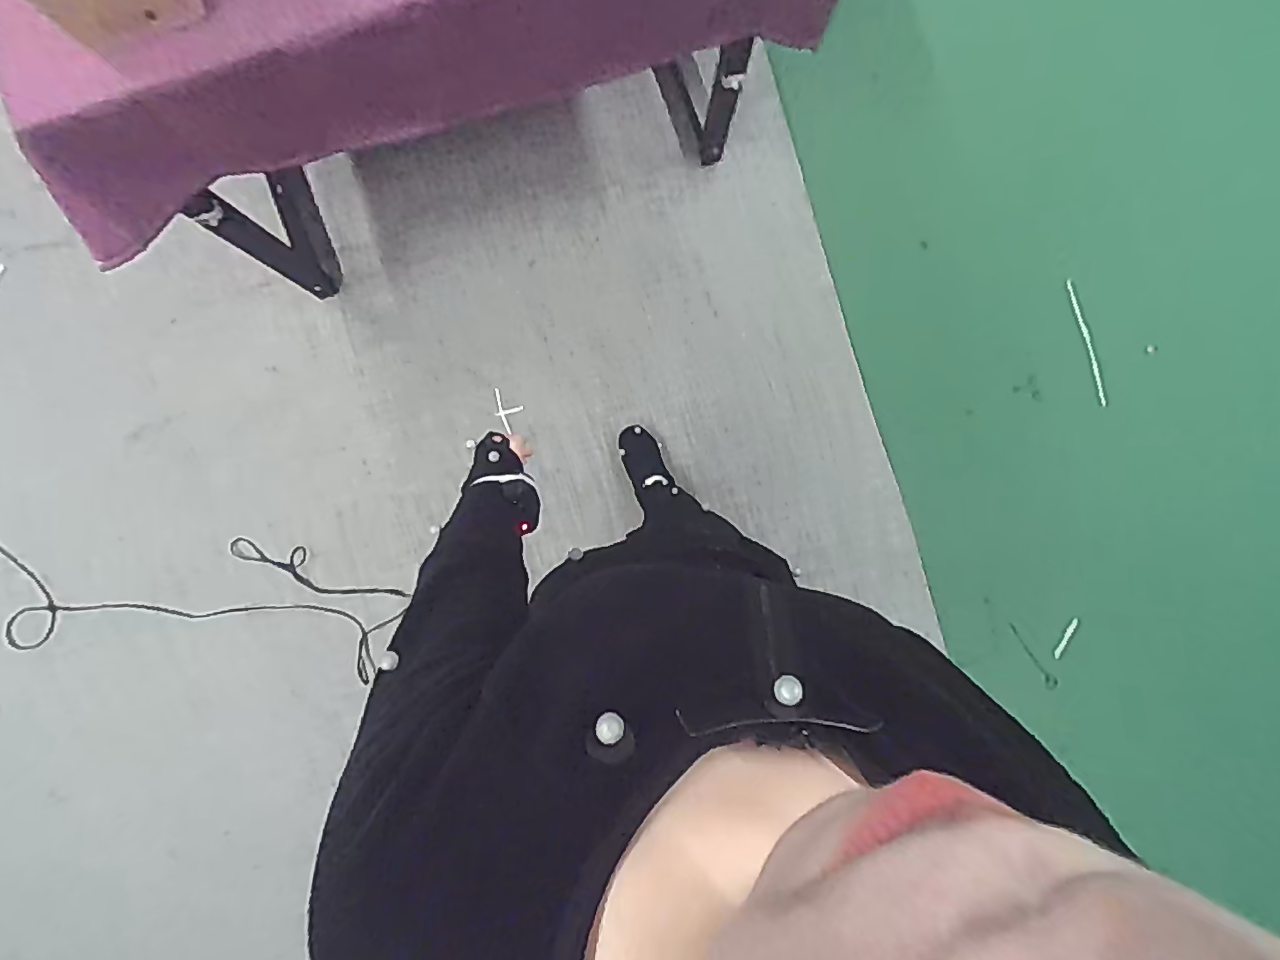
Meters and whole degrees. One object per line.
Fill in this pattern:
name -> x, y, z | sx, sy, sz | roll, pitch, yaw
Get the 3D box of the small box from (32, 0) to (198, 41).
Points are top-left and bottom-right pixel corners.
small box -> -0.710, -0.700, 0.674 | 0.168, 0.176, 0.179 | -21, 89, -4
